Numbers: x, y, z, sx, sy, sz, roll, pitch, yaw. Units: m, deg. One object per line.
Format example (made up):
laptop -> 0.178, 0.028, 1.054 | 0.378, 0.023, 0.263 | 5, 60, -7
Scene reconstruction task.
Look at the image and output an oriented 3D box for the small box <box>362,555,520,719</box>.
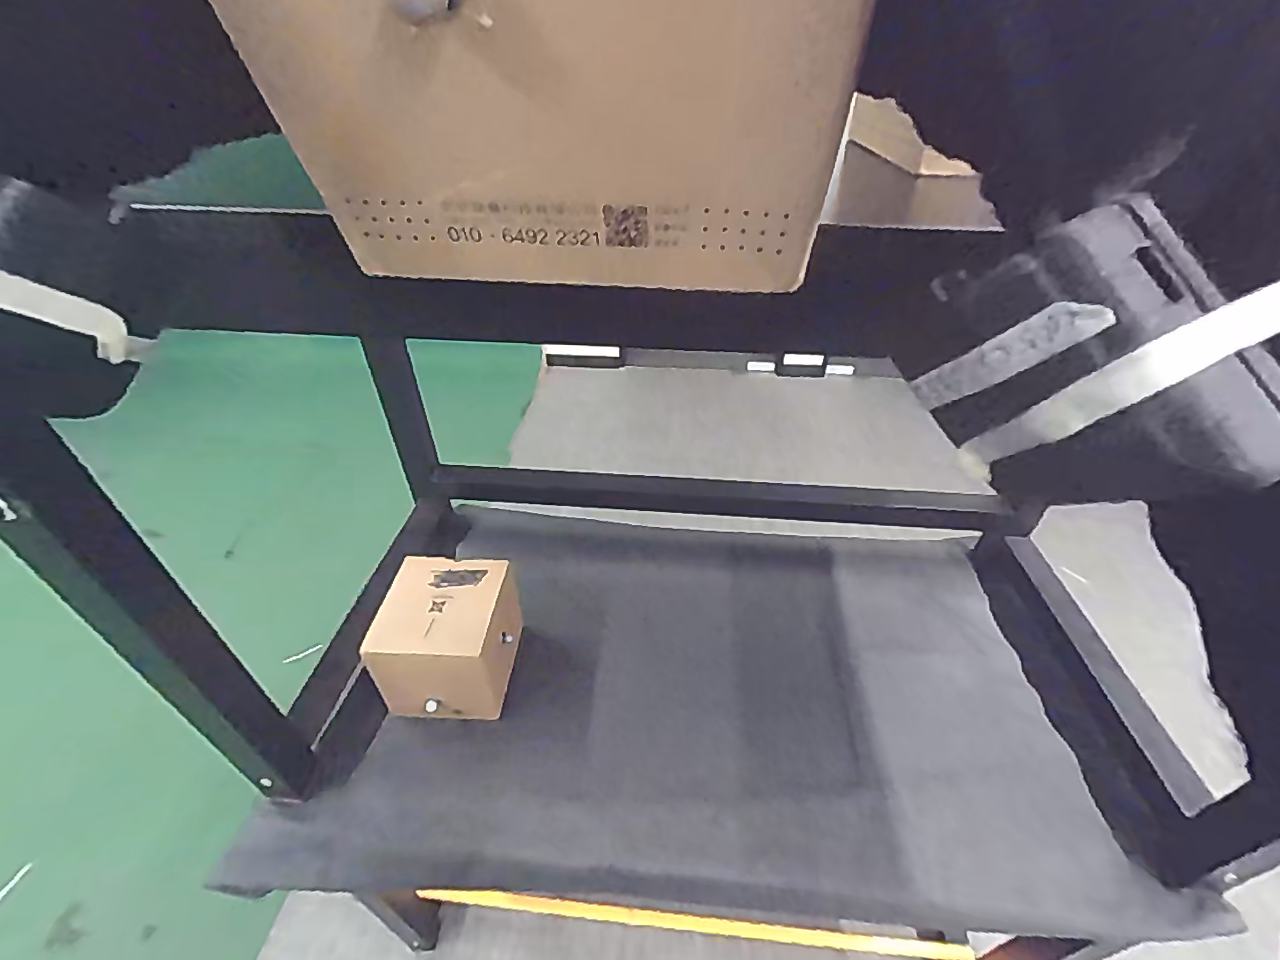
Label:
small box -> -0.289, 0.238, 0.831 | 0.168, 0.176, 0.179 | 2, 39, 2
